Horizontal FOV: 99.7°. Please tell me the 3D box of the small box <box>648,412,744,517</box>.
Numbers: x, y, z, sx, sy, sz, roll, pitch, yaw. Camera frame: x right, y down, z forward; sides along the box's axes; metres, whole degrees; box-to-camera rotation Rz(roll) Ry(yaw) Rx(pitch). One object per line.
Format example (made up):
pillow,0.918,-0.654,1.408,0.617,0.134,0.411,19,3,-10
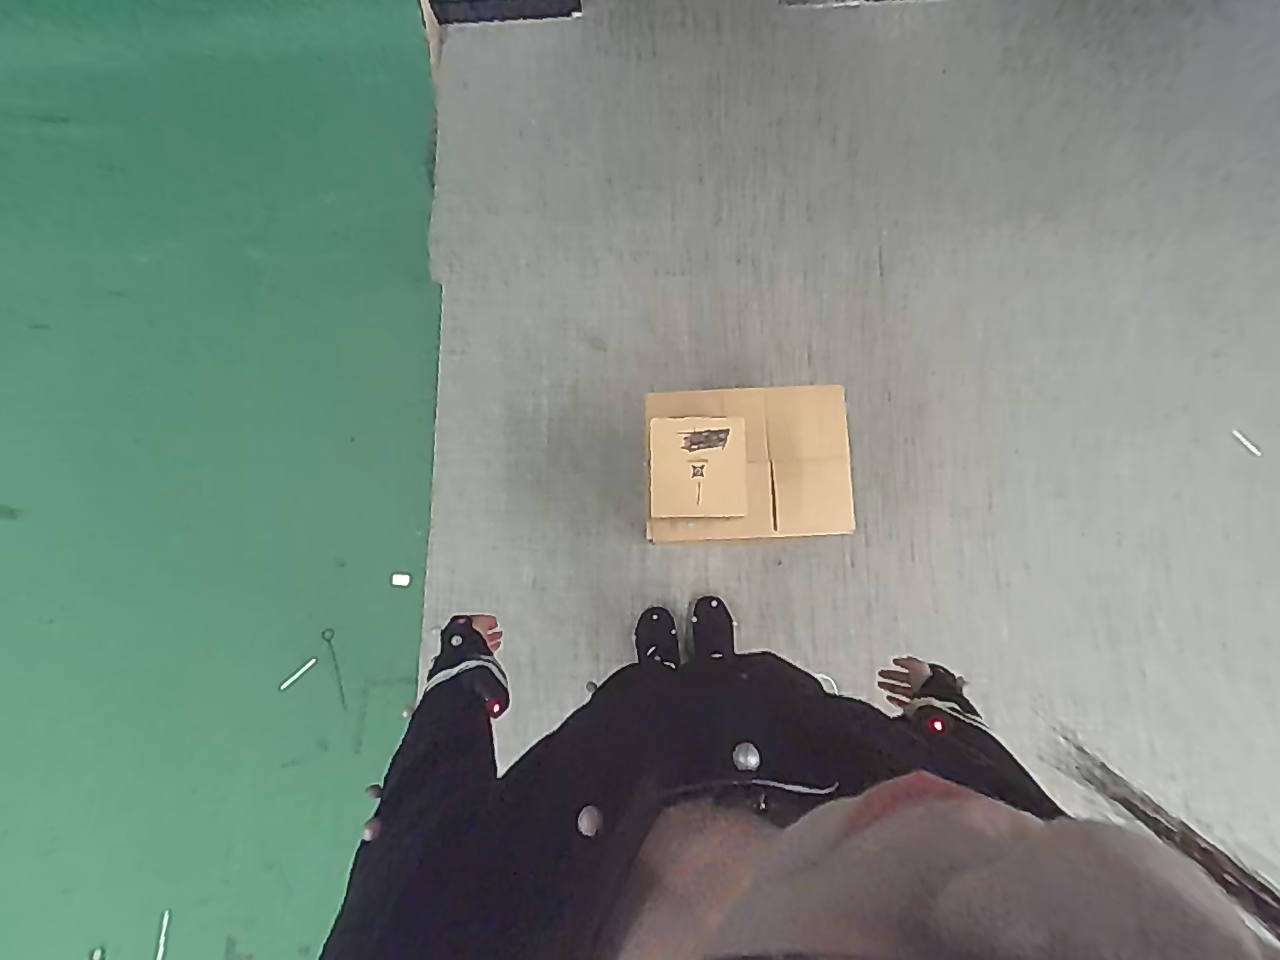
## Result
small box,0.098,-0.023,1.012,0.168,0.176,0.179,0,85,1
